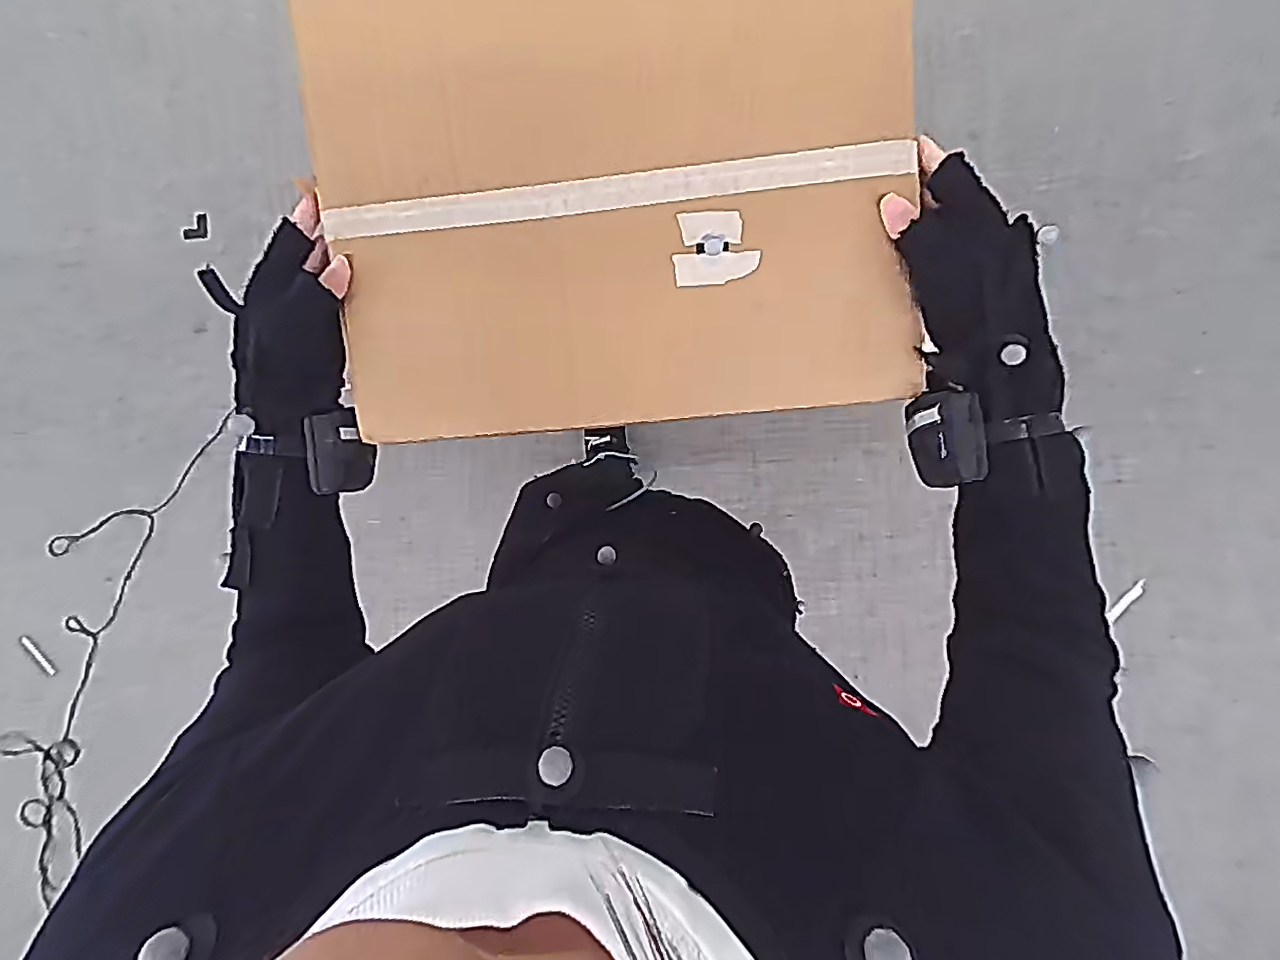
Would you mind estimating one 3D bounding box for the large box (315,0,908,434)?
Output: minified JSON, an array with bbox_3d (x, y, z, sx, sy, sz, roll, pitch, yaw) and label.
[{"bbox_3d":[-0.012,-0.224,0.532,0.408,0.320,0.320,-5,98,3],"label":"large box"}]
